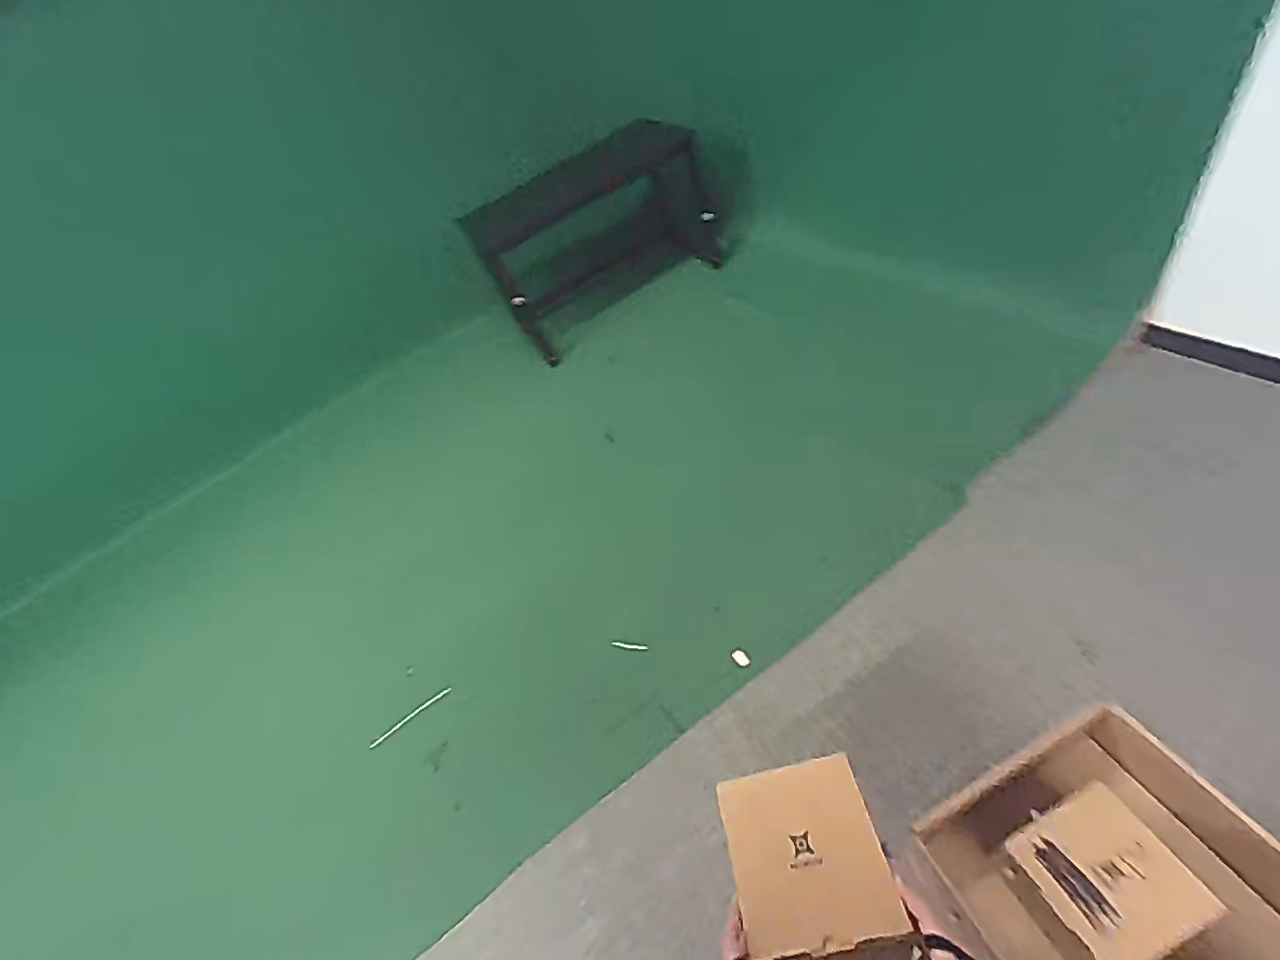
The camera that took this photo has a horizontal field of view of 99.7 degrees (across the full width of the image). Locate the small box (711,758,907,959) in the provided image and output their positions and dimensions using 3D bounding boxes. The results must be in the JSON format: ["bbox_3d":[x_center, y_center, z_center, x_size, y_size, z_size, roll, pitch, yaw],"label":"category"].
[{"bbox_3d":[0.195,0.471,0.646,0.168,0.176,0.179,-18,40,5],"label":"small box"}]
